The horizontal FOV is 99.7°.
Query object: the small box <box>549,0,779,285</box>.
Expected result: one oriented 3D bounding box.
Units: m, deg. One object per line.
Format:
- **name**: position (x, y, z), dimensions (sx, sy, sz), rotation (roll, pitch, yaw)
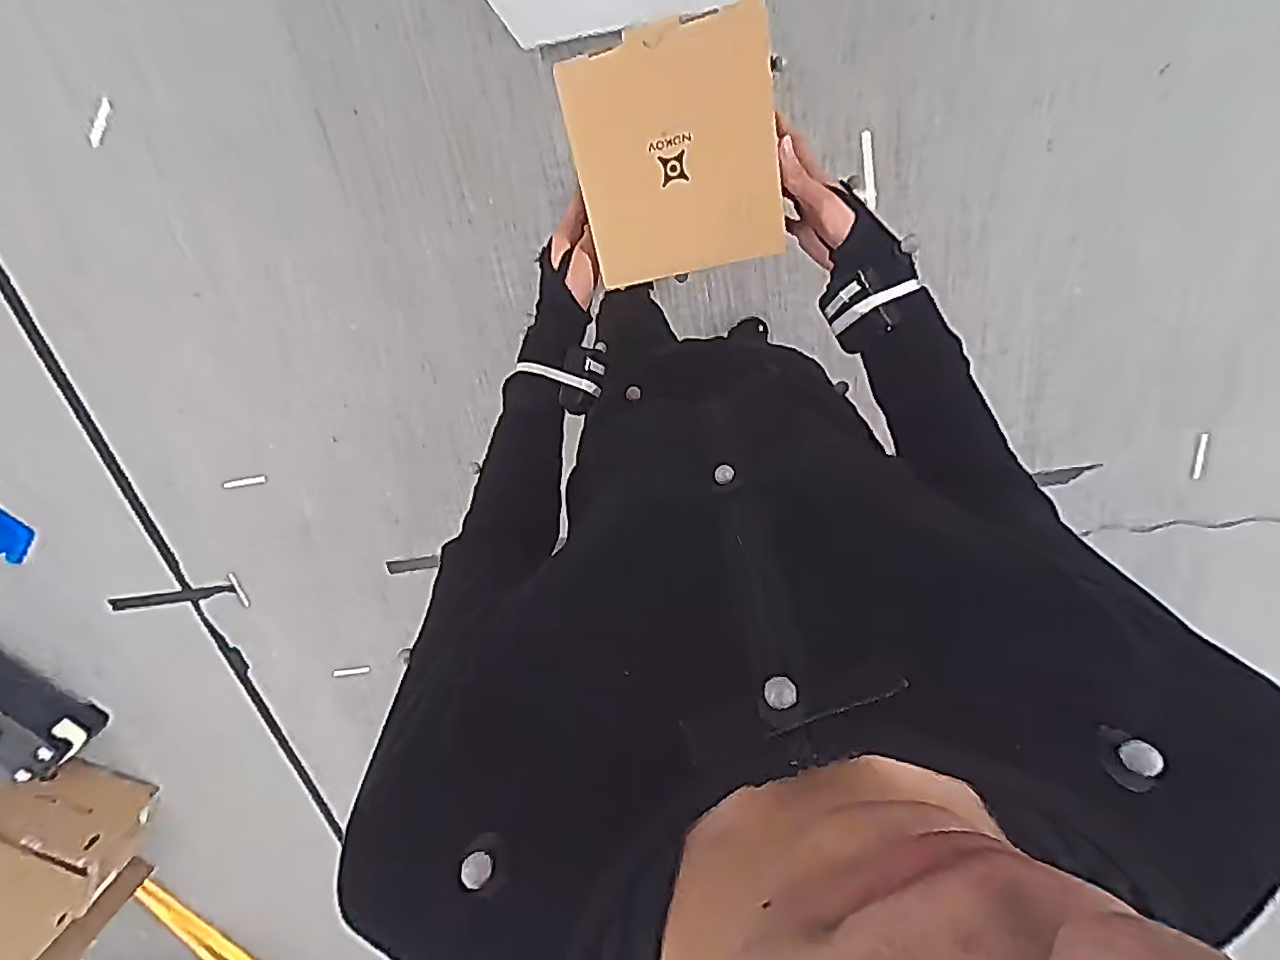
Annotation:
- **small box**: position (0.040, -0.301, 0.510), dimensions (0.168, 0.176, 0.179), rotation (-6, 116, 17)
